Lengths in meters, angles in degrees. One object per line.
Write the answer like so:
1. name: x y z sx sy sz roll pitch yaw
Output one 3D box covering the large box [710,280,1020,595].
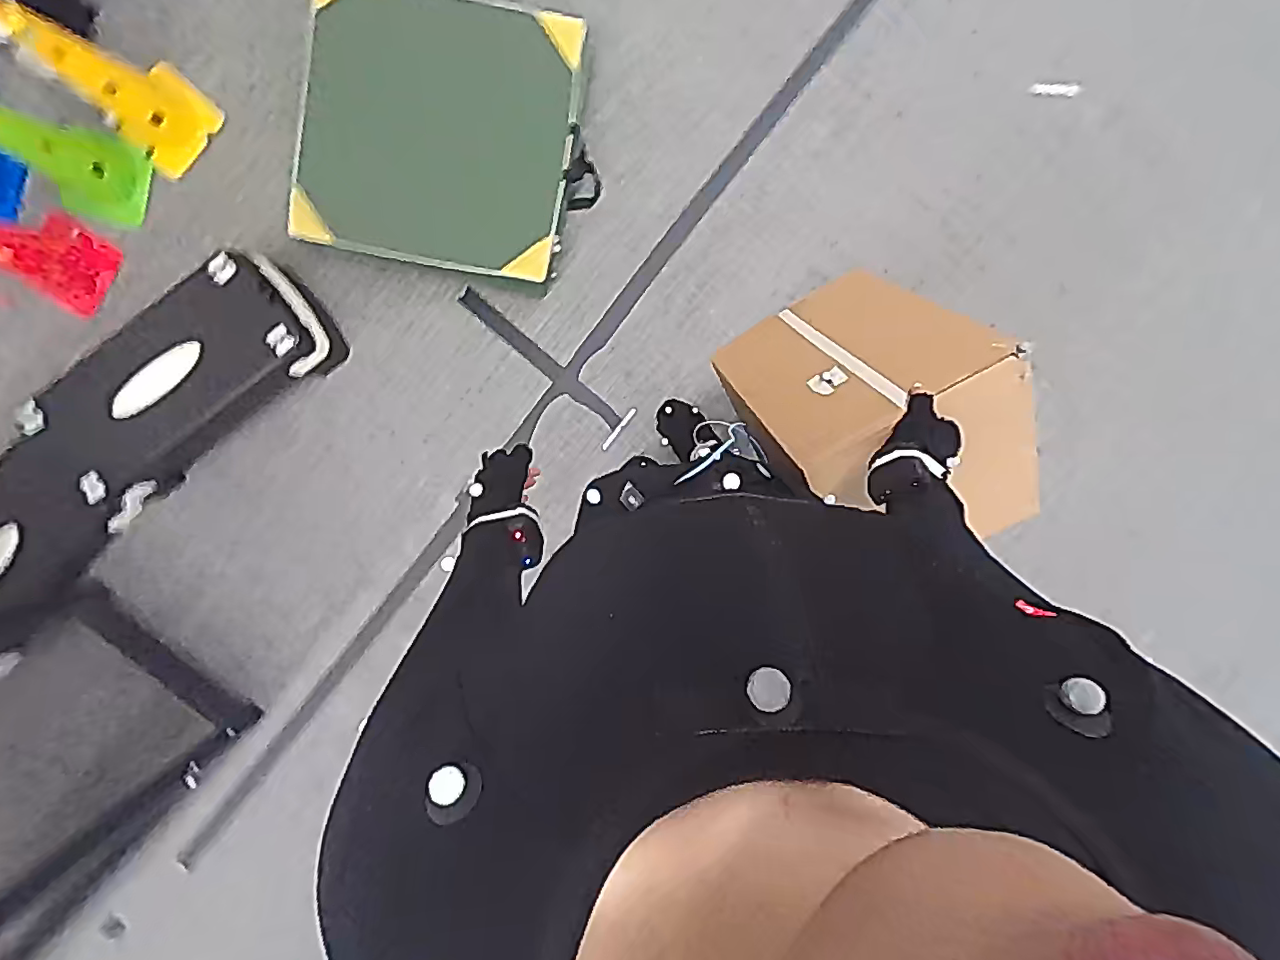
1. large box: 0.369 -0.088 0.941 0.320 0.408 0.320 -29 126 7
